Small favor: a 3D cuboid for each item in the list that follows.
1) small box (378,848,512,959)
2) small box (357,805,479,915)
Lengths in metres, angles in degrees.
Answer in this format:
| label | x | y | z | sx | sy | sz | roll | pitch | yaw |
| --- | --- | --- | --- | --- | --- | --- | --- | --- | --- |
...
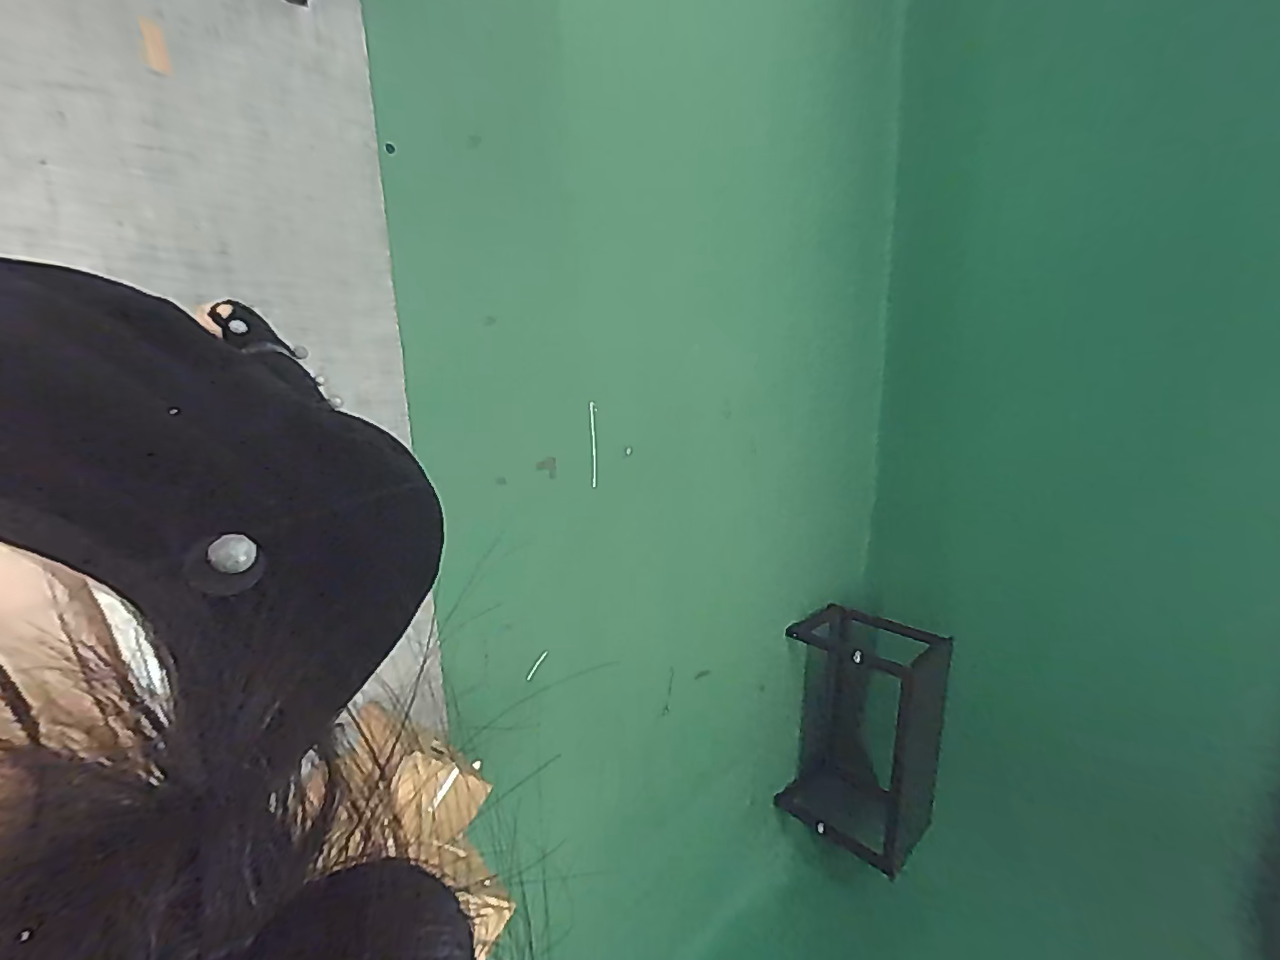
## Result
| label | x | y | z | sx | sy | sz | roll | pitch | yaw |
| --- | --- | --- | --- | --- | --- | --- | --- | --- | --- |
| small box | -0.419 | 0.935 | 1.165 | 0.168 | 0.176 | 0.179 | -55 | 131 | -23 |
| small box | -0.527 | 0.913 | 1.284 | 0.168 | 0.176 | 0.179 | -53 | 129 | -24 |
